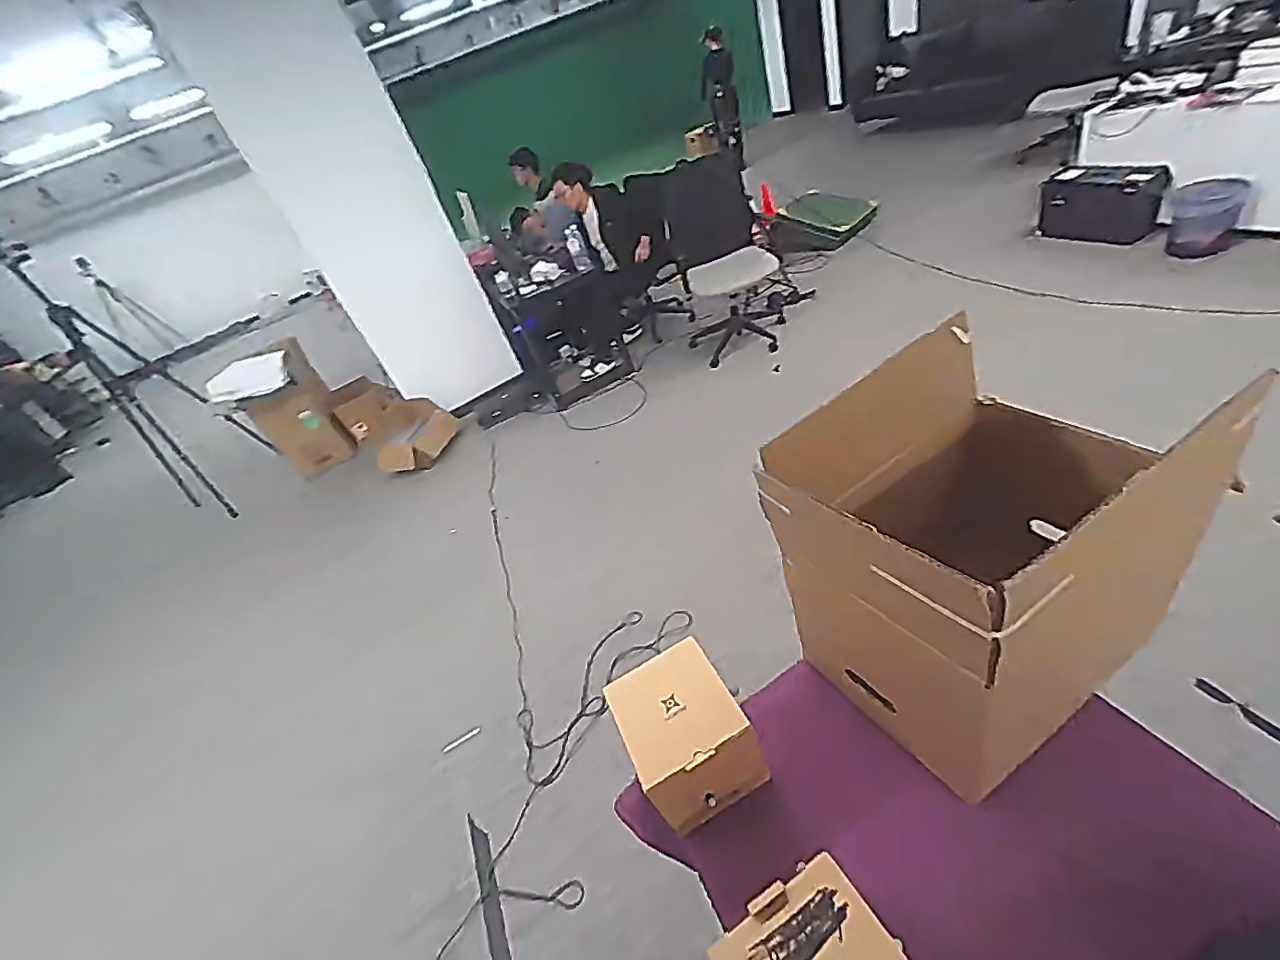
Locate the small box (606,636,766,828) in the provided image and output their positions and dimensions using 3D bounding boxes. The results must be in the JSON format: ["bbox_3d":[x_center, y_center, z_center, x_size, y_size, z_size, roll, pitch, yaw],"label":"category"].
[{"bbox_3d":[0.071,0.385,0.829,0.168,0.176,0.179,-28,38,-8],"label":"small box"}]
